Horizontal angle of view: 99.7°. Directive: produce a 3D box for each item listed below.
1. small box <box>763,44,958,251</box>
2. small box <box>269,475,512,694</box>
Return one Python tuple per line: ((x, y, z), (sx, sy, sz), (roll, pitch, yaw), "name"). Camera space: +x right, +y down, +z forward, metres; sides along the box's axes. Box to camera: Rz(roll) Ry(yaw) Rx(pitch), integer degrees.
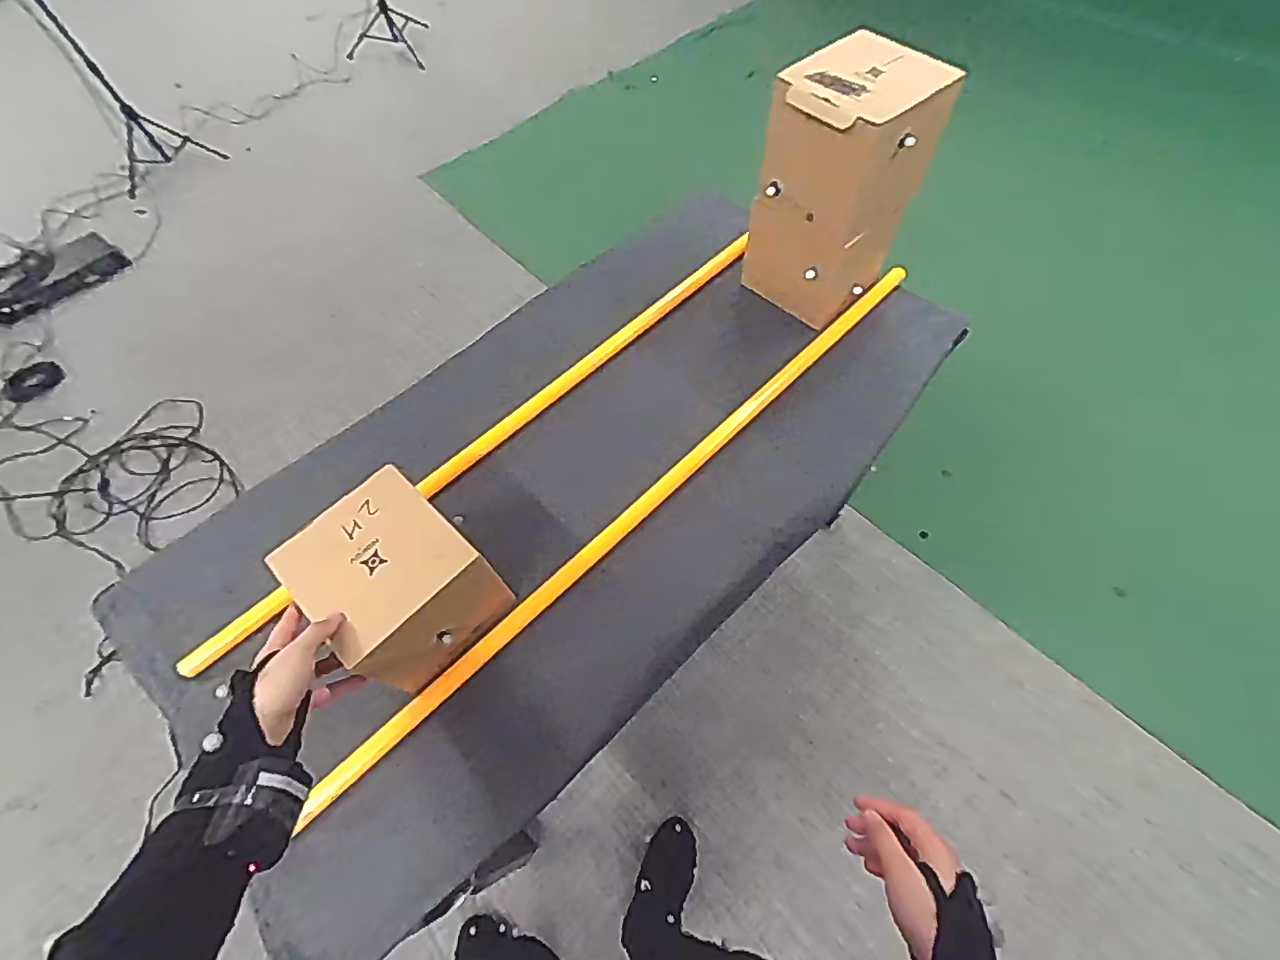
((0.292, -0.460, 0.760), (0.179, 0.176, 0.168), (-37, 66, -16), "small box")
((-0.280, 0.133, 0.647), (0.179, 0.176, 0.168), (38, 68, 22), "small box")
